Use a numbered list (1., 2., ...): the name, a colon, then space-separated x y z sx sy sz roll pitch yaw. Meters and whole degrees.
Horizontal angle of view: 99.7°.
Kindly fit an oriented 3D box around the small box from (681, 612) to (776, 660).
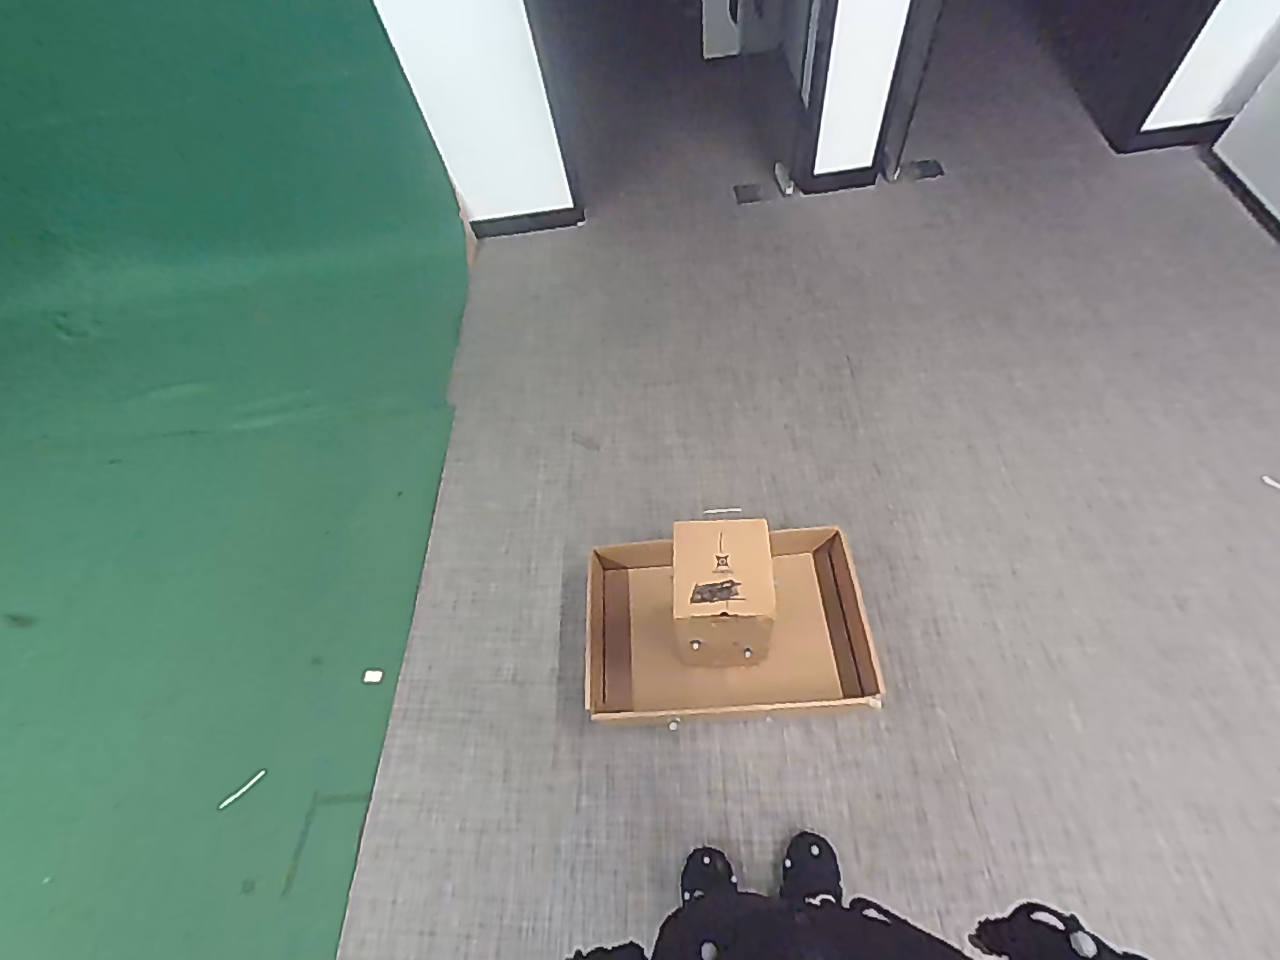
1. small box: 0.168 0.263 1.102 0.179 0.176 0.168 -6 58 5

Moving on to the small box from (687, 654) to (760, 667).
1. small box: 0.188 0.333 1.270 0.179 0.176 0.168 -6 57 4

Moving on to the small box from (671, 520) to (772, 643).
1. small box: 0.145 0.189 0.975 0.168 0.176 0.179 -2 57 7
